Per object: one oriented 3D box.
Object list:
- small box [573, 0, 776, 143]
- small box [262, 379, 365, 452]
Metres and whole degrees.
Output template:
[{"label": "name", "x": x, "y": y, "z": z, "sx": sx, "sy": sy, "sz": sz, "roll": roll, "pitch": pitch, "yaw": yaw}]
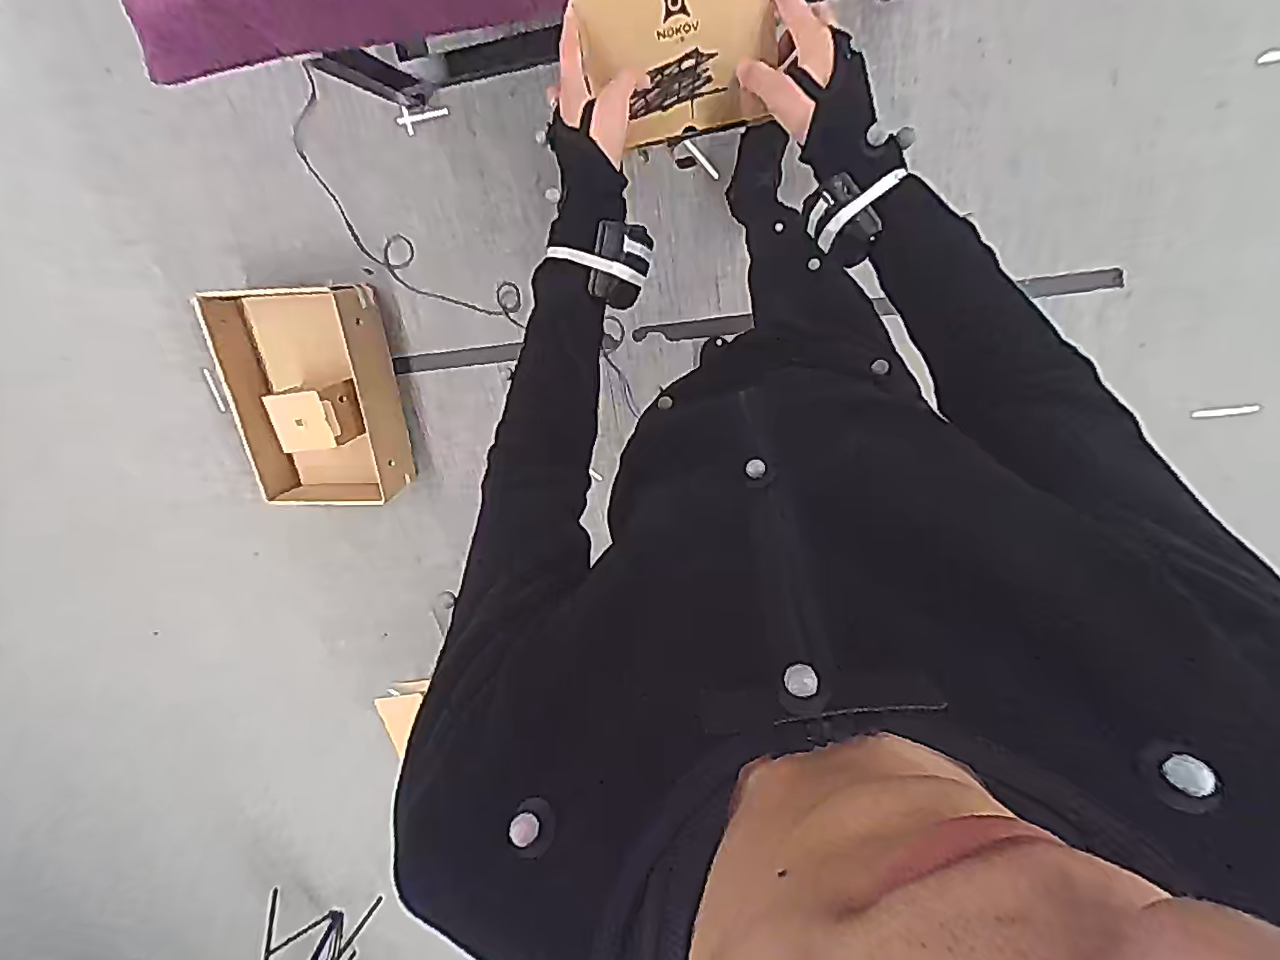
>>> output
[{"label": "small box", "x": 0.031, "y": -0.437, "z": 0.514, "sx": 0.168, "sy": 0.176, "sz": 0.179, "roll": -9, "pitch": 120, "yaw": 7}, {"label": "small box", "x": -0.930, "y": -0.190, "z": 1.566, "sx": 0.179, "sy": 0.176, "sz": 0.168, "roll": -5, "pitch": 111, "yaw": 8}]
